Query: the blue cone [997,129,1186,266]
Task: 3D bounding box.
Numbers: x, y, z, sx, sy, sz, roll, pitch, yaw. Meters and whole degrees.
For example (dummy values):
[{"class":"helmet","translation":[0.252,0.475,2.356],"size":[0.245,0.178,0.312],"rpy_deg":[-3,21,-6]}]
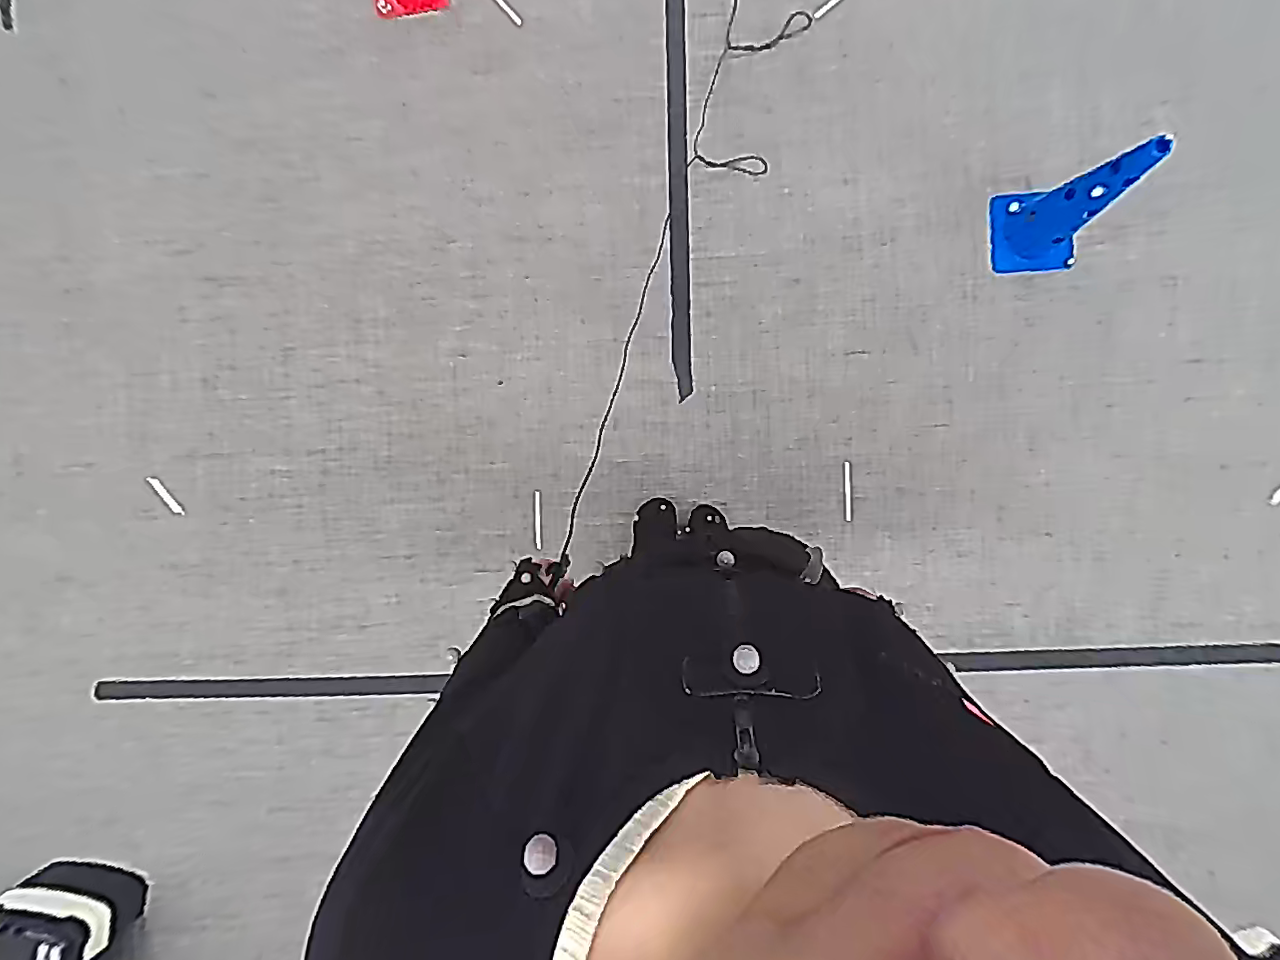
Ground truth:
[{"class":"blue cone","translation":[0.985,-0.631,1.184],"size":[0.192,0.380,0.193],"rpy_deg":[-1,90,1]}]
